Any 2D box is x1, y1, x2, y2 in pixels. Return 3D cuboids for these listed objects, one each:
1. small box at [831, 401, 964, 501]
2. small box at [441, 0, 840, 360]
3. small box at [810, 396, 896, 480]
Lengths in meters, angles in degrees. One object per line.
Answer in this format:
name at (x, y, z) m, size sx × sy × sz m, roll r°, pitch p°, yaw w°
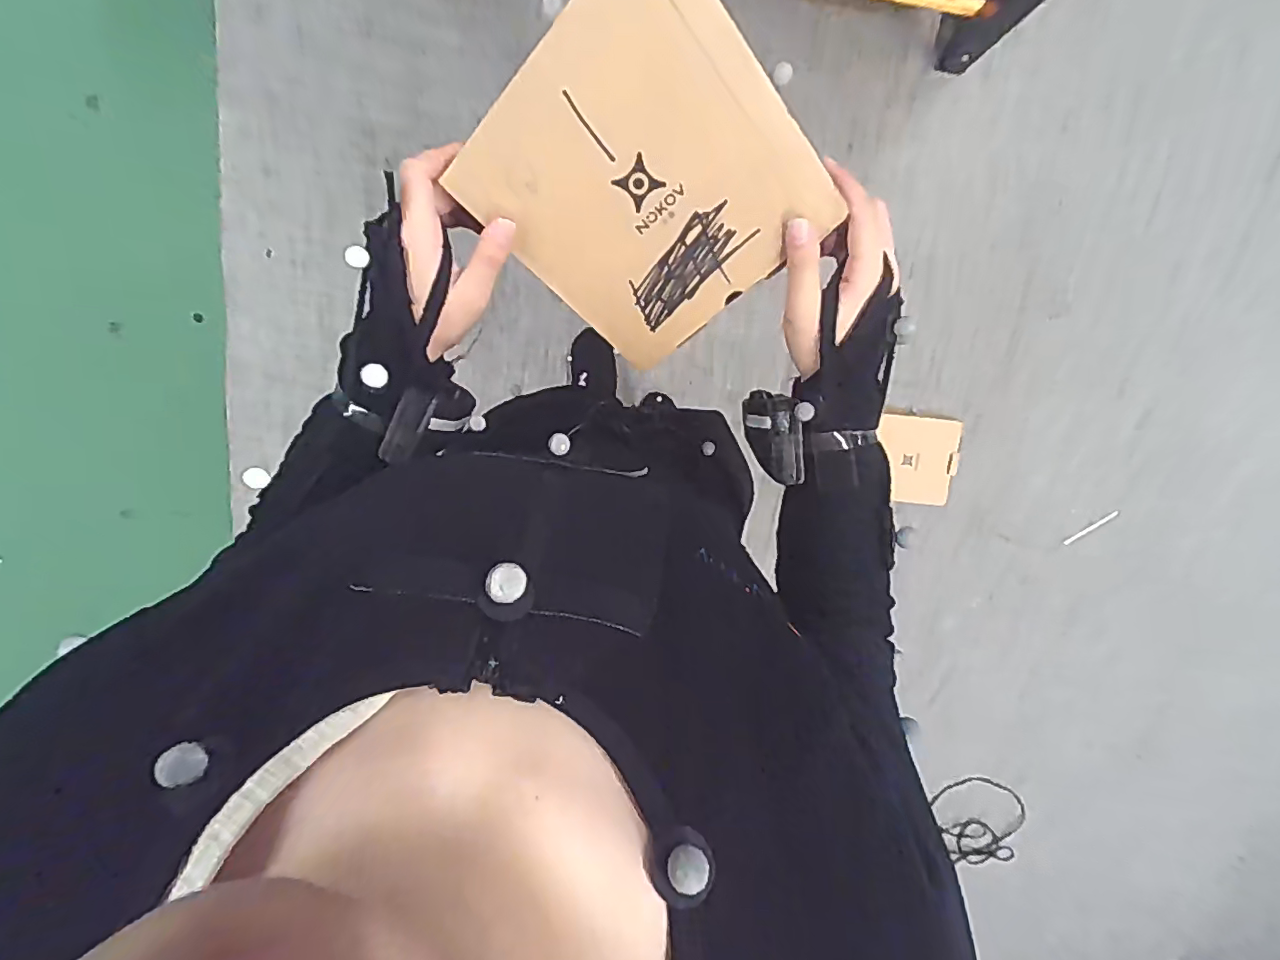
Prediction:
small box at (0.508, -0.065, 1.093) m, size 0.179 × 0.176 × 0.168 m, roll 5°, pitch 104°, yaw 1°
small box at (0.005, -0.225, 0.368) m, size 0.168 × 0.176 × 0.179 m, roll -33°, pitch 124°, yaw 29°
small box at (0.507, -0.097, 1.254) m, size 0.168 × 0.176 × 0.179 m, roll 5°, pitch 105°, yaw 1°
